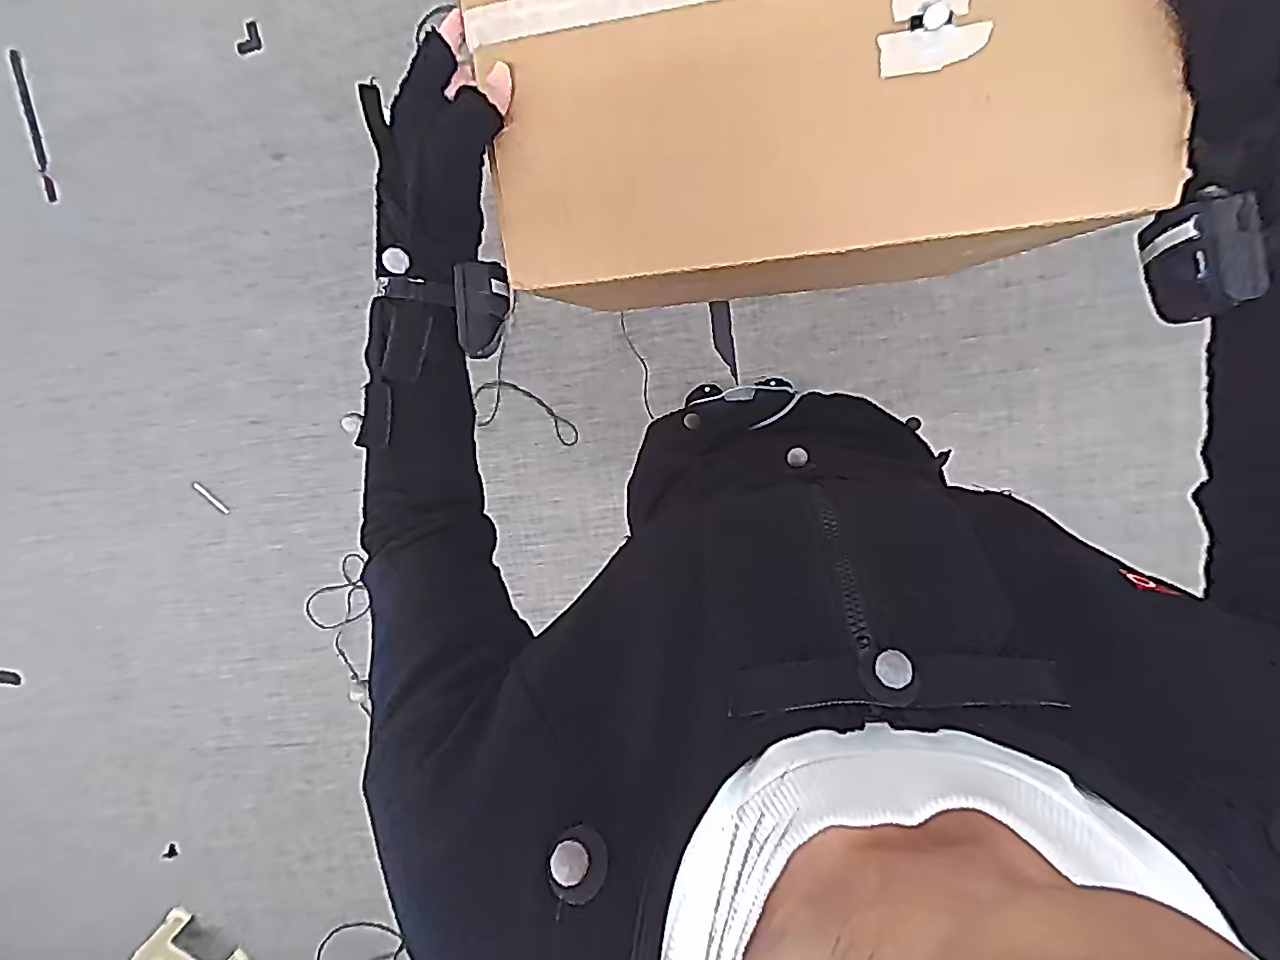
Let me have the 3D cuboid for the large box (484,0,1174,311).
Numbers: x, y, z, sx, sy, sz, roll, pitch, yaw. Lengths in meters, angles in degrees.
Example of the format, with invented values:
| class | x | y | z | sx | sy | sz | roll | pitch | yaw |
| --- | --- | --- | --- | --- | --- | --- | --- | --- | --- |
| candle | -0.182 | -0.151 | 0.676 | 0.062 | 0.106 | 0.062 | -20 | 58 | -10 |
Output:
| class | x | y | z | sx | sy | sz | roll | pitch | yaw |
| --- | --- | --- | --- | --- | --- | --- | --- | --- | --- |
| large box | 0.114 | -0.338 | 0.463 | 0.408 | 0.320 | 0.320 | -5 | 104 | 8 |
